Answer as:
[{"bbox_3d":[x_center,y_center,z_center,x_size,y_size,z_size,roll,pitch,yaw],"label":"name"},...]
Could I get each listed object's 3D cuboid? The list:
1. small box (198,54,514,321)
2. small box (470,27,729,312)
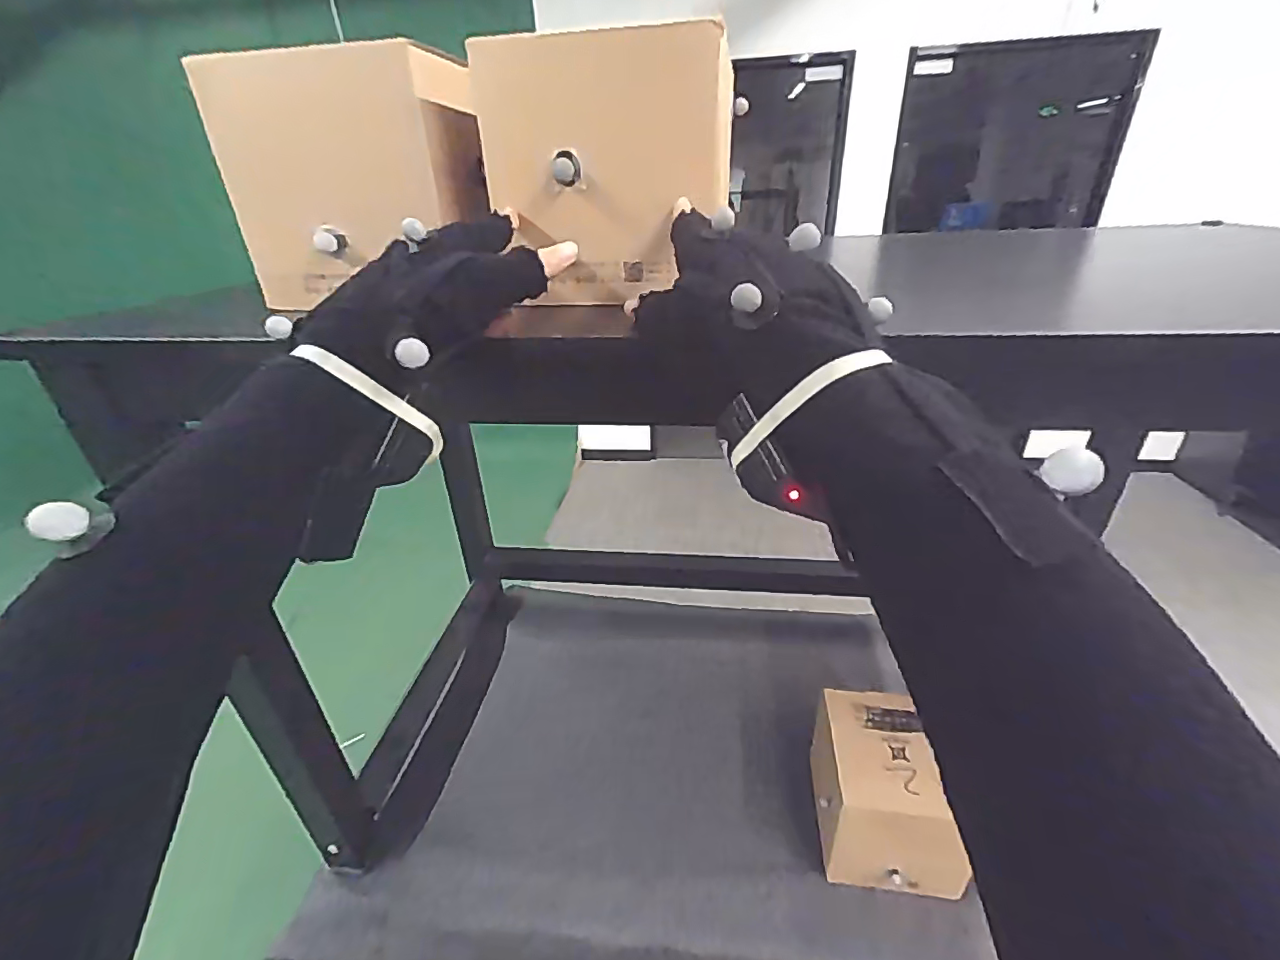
[{"bbox_3d":[-0.208,-0.243,0.466,0.168,0.176,0.179,2,30,9],"label":"small box"},{"bbox_3d":[-0.013,-0.238,0.445,0.168,0.176,0.179,2,28,10],"label":"small box"}]
